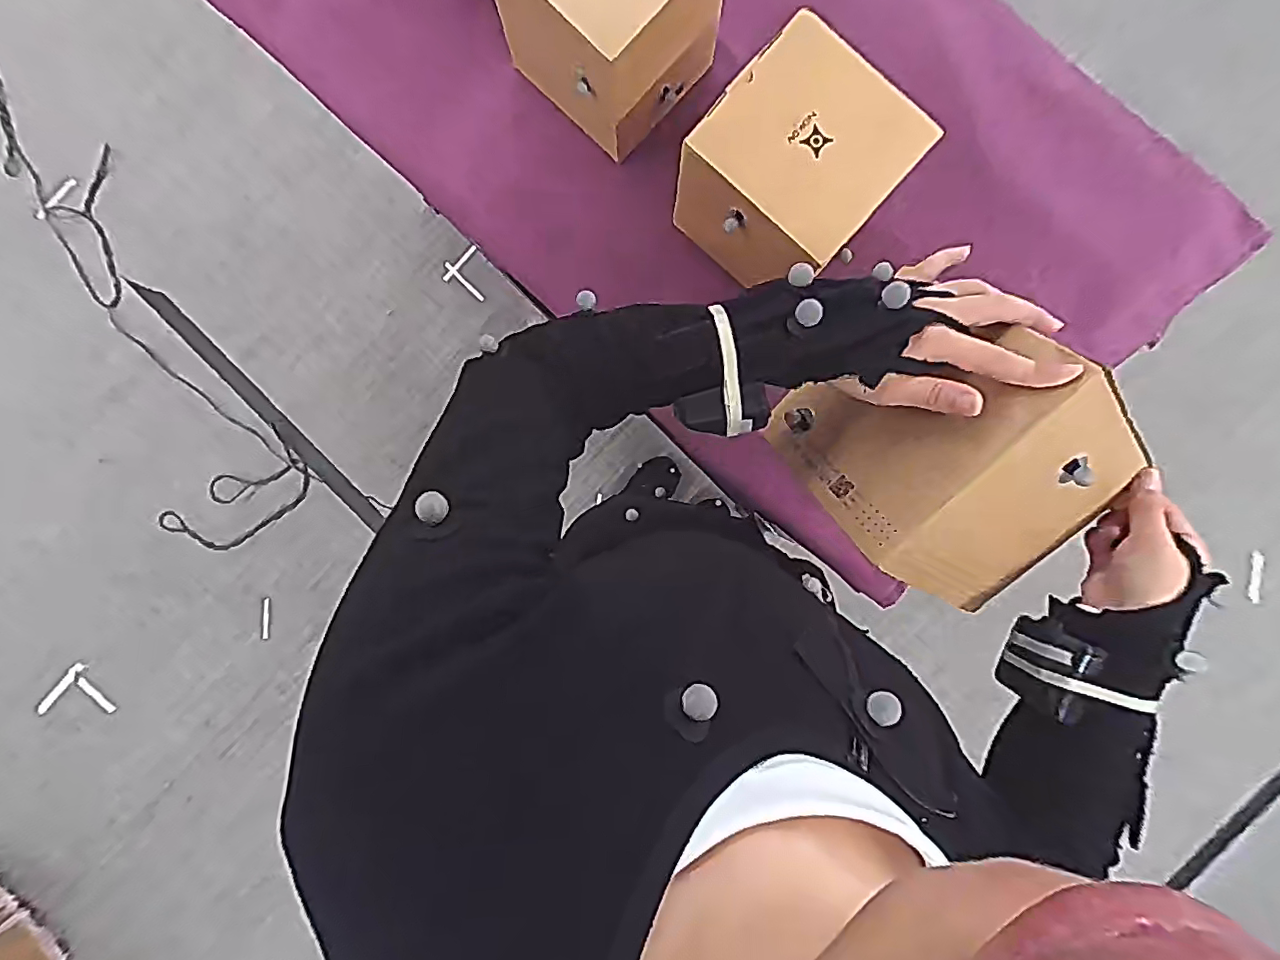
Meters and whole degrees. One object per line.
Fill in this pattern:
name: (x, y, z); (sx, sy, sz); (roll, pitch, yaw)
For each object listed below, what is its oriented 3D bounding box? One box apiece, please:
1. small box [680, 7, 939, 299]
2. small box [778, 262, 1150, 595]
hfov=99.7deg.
small box: (0.160, -0.318, 0.575); (0.179, 0.176, 0.168); (42, 91, 0)
small box: (0.237, -0.031, 0.431); (0.179, 0.168, 0.176); (25, 116, -38)
